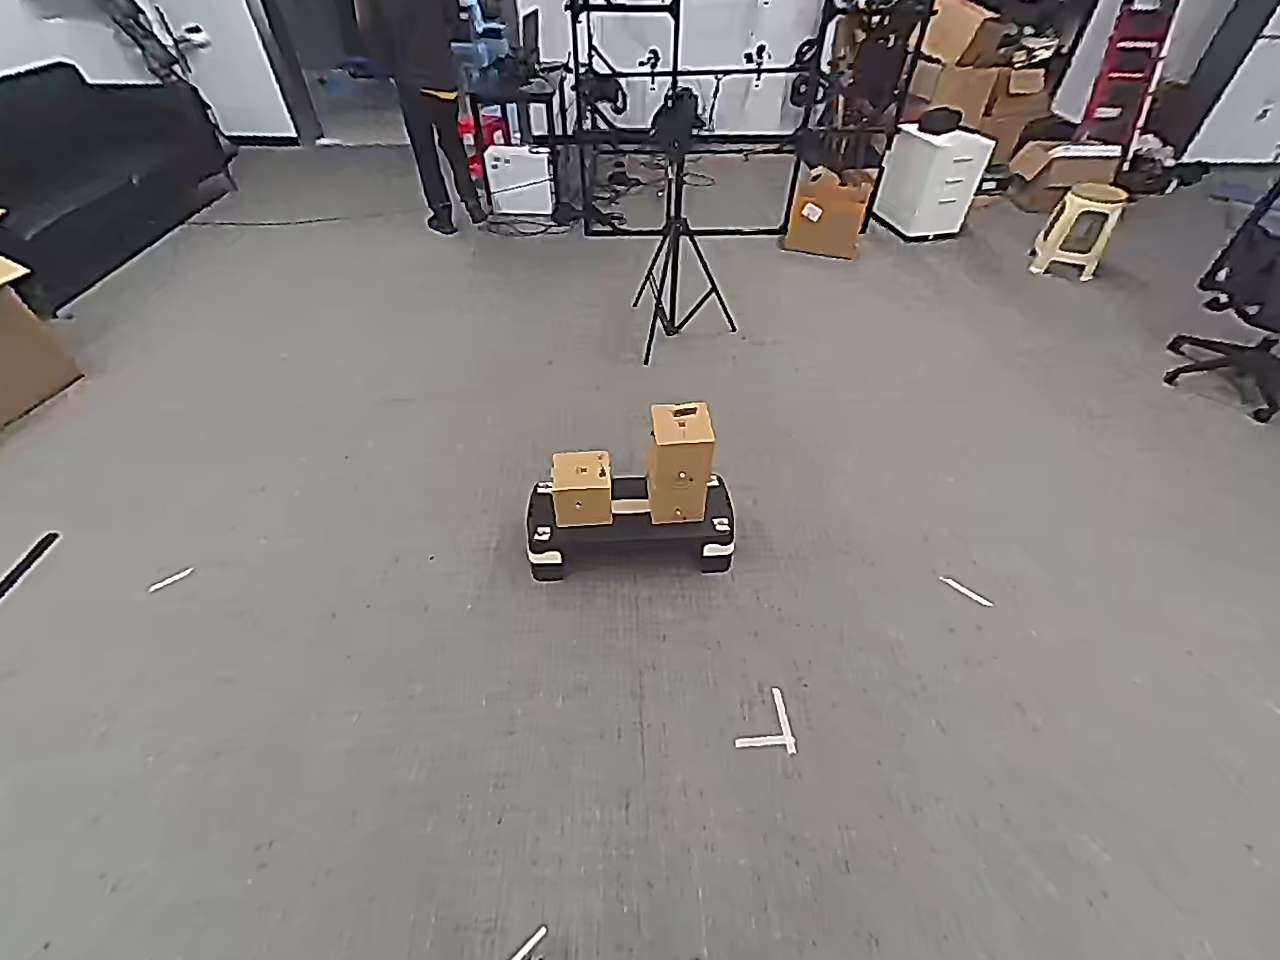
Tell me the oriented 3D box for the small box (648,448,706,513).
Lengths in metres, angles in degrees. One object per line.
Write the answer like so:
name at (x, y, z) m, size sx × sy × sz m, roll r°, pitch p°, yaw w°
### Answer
small box at (0.112, 0.012, 1.723) m, size 0.168 × 0.176 × 0.179 m, roll -4°, pitch 46°, yaw -3°

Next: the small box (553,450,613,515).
small box at (-0.178, 0.026, 1.708) m, size 0.179 × 0.176 × 0.168 m, roll -4°, pitch 46°, yaw -4°

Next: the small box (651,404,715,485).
small box at (0.121, -0.106, 1.609) m, size 0.168 × 0.176 × 0.179 m, roll -4°, pitch 46°, yaw -3°
